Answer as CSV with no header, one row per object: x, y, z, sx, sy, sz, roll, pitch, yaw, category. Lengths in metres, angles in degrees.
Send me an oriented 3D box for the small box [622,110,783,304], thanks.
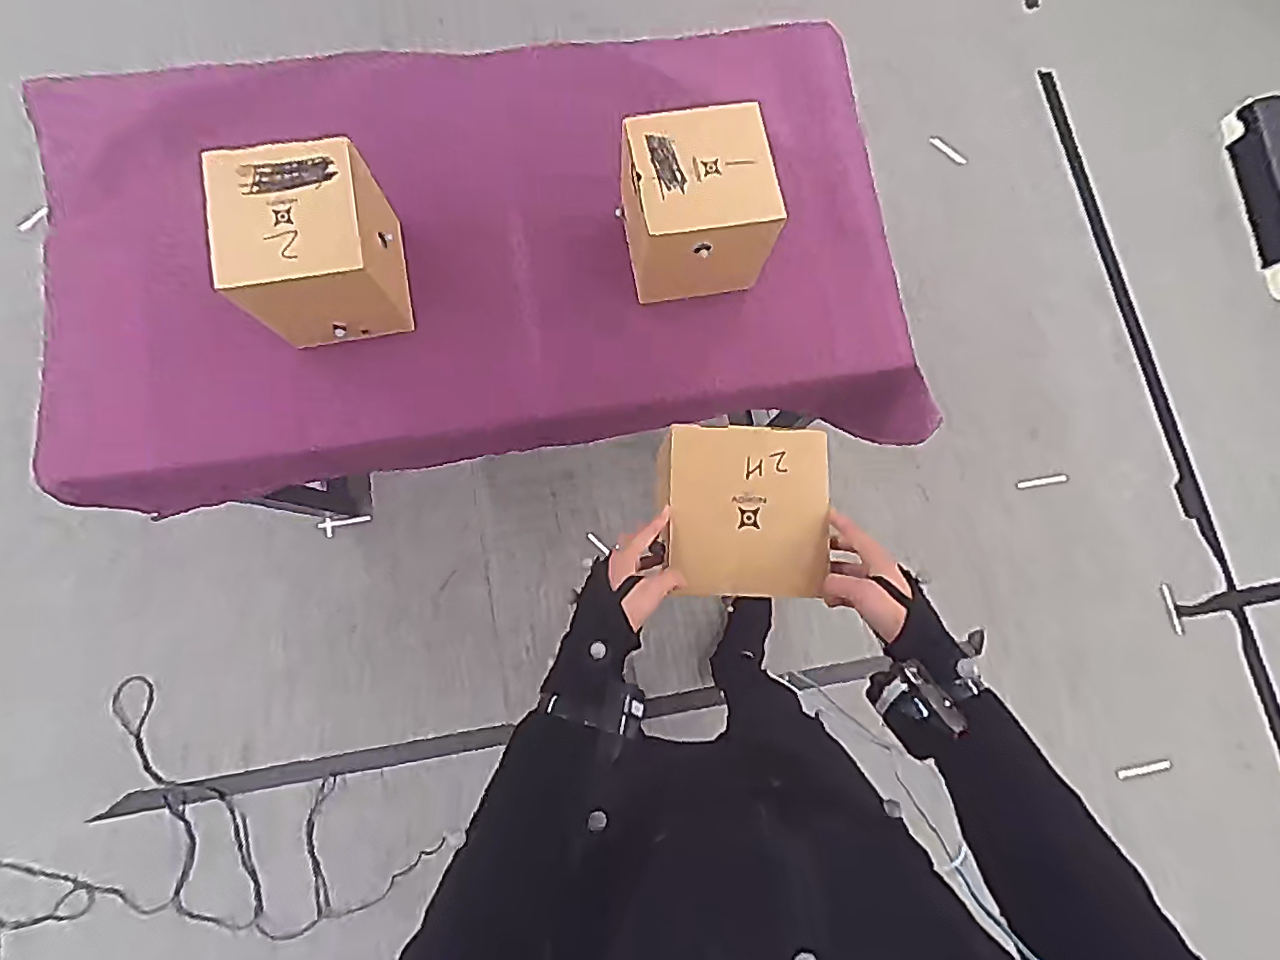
0.073,-0.359,0.740,0.179,0.176,0.168,-10,81,-5,small box

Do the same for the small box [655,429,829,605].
0.108,0.047,0.627,0.168,0.176,0.179,2,81,-3,small box
